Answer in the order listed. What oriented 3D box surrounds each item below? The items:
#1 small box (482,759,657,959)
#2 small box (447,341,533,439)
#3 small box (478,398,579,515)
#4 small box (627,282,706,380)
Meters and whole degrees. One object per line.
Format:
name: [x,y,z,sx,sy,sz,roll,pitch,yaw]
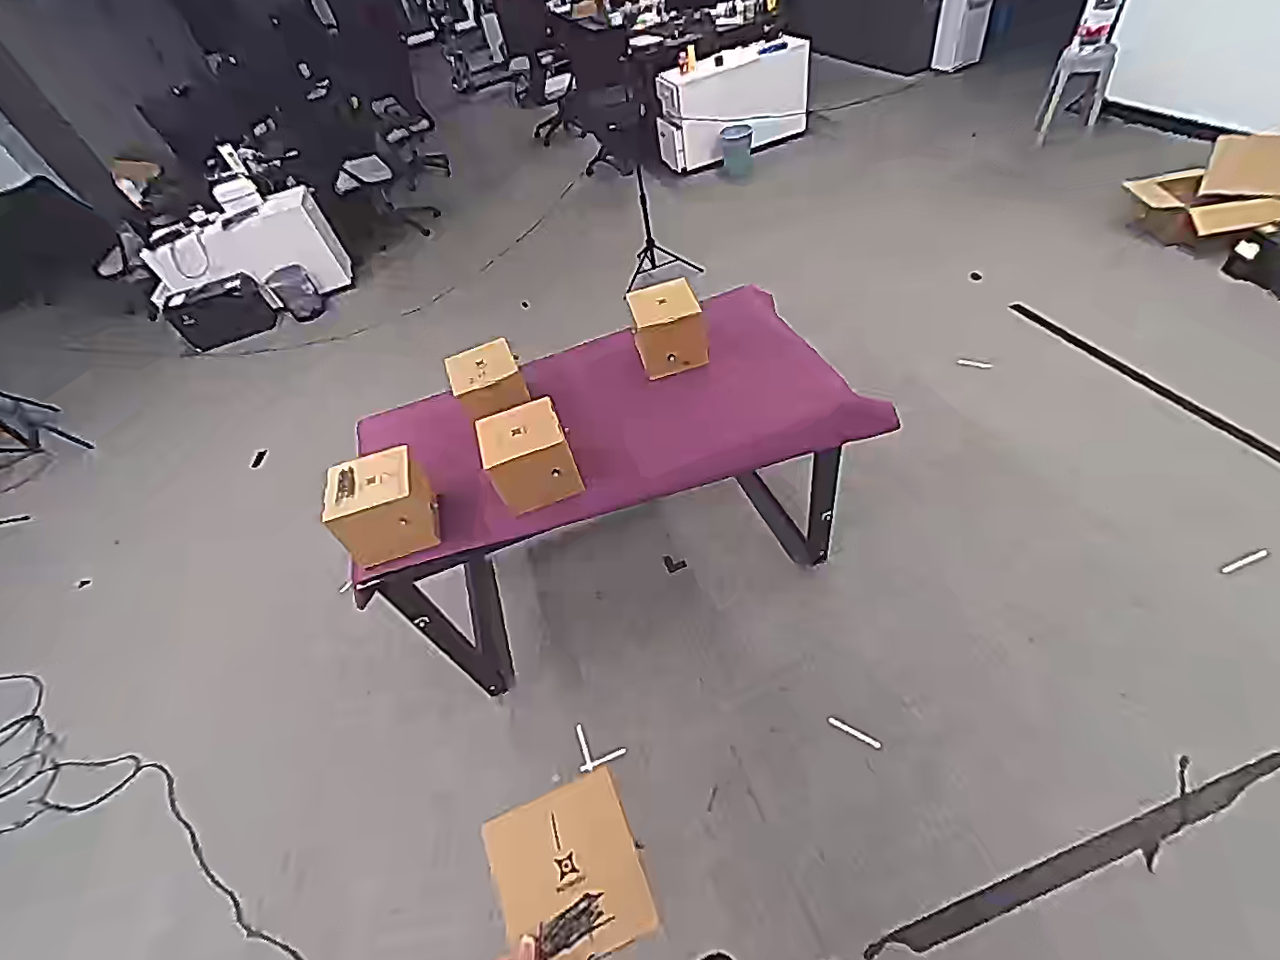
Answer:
small box: [-0.086,0.484,0.704,0.168,0.176,0.179,-20,66,-12]
small box: [-0.383,-0.228,1.413,0.168,0.176,0.179,-23,48,-7]
small box: [-0.247,-0.051,1.222,0.179,0.176,0.168,-20,47,-5]
small box: [0.072,-0.400,1.457,0.168,0.176,0.179,-16,49,0]
